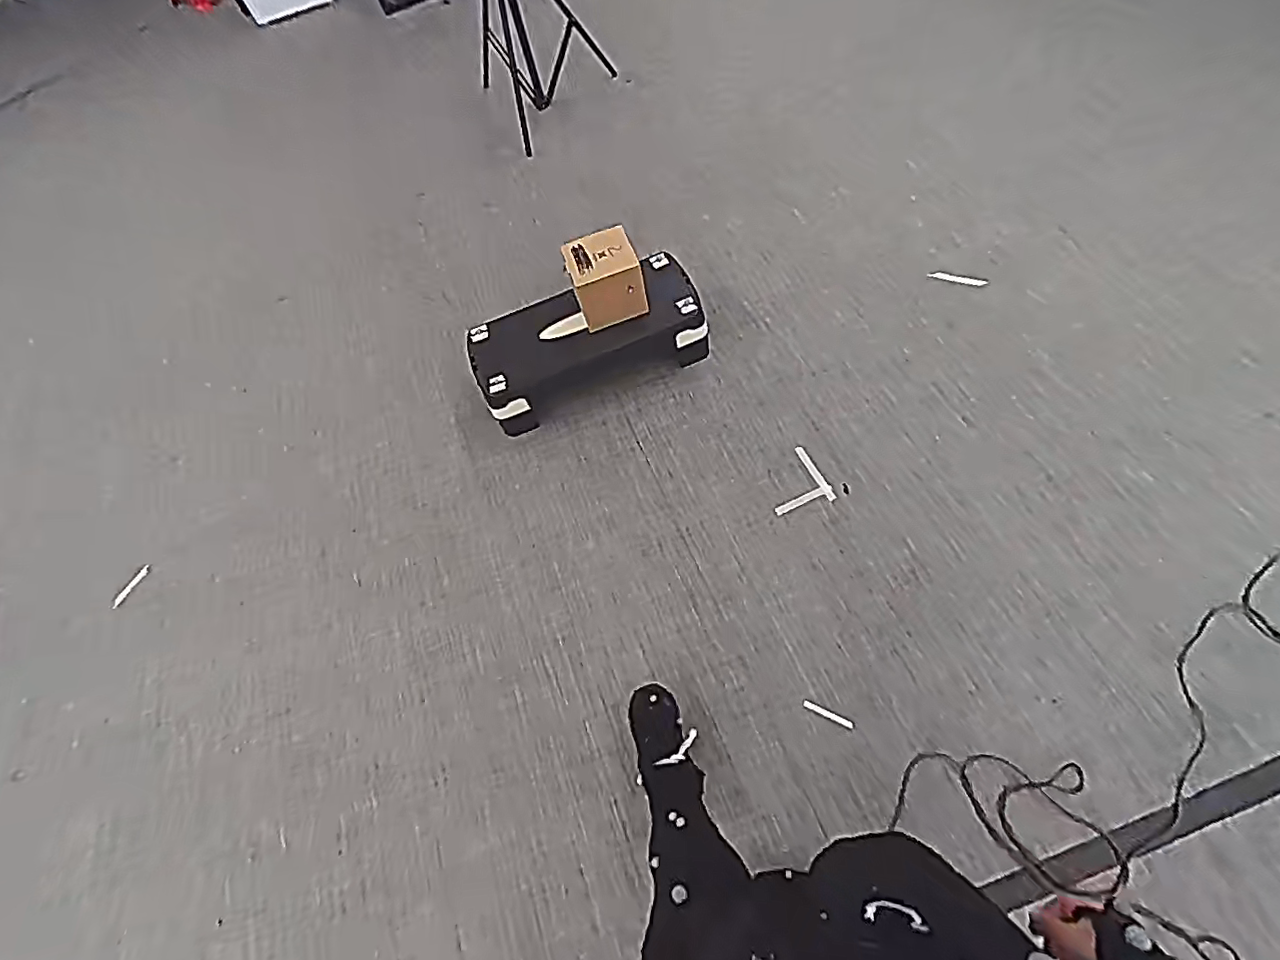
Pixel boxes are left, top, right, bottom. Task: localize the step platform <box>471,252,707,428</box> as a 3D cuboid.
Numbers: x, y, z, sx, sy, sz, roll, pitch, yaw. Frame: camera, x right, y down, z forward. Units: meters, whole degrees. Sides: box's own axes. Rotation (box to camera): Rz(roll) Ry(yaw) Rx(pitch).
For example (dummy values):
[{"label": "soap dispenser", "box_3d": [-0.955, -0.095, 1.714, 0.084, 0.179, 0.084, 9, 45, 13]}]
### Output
[{"label": "step platform", "box_3d": [-0.150, -0.420, 1.618, 0.684, 0.204, 0.286, -24, 62, -2]}]
